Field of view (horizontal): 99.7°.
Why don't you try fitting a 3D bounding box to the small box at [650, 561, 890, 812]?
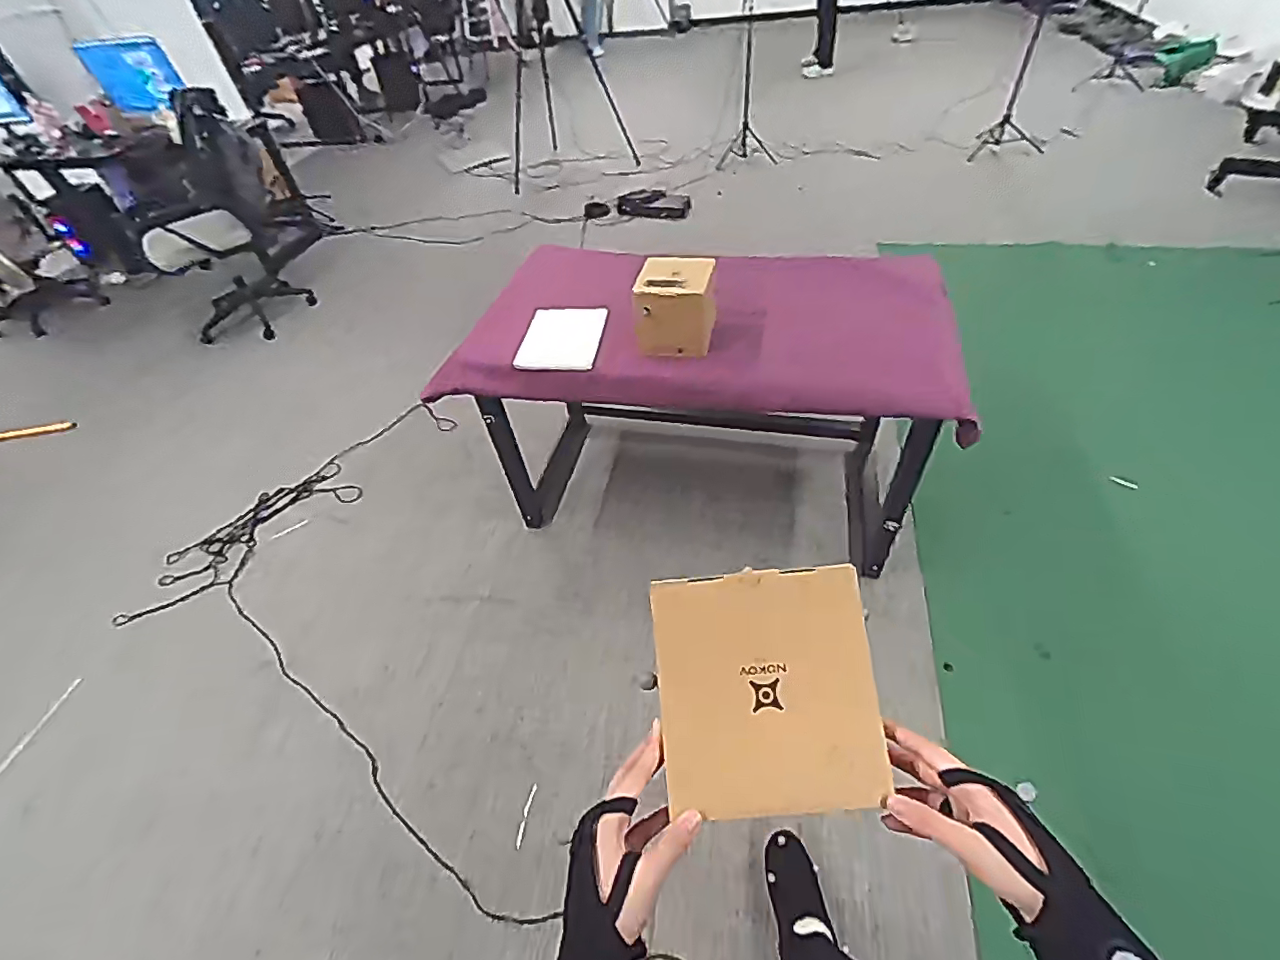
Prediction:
[{"bbox_3d":[0.100,0.172,0.492,0.168,0.176,0.179,-5,76,1],"label":"small box"}]
